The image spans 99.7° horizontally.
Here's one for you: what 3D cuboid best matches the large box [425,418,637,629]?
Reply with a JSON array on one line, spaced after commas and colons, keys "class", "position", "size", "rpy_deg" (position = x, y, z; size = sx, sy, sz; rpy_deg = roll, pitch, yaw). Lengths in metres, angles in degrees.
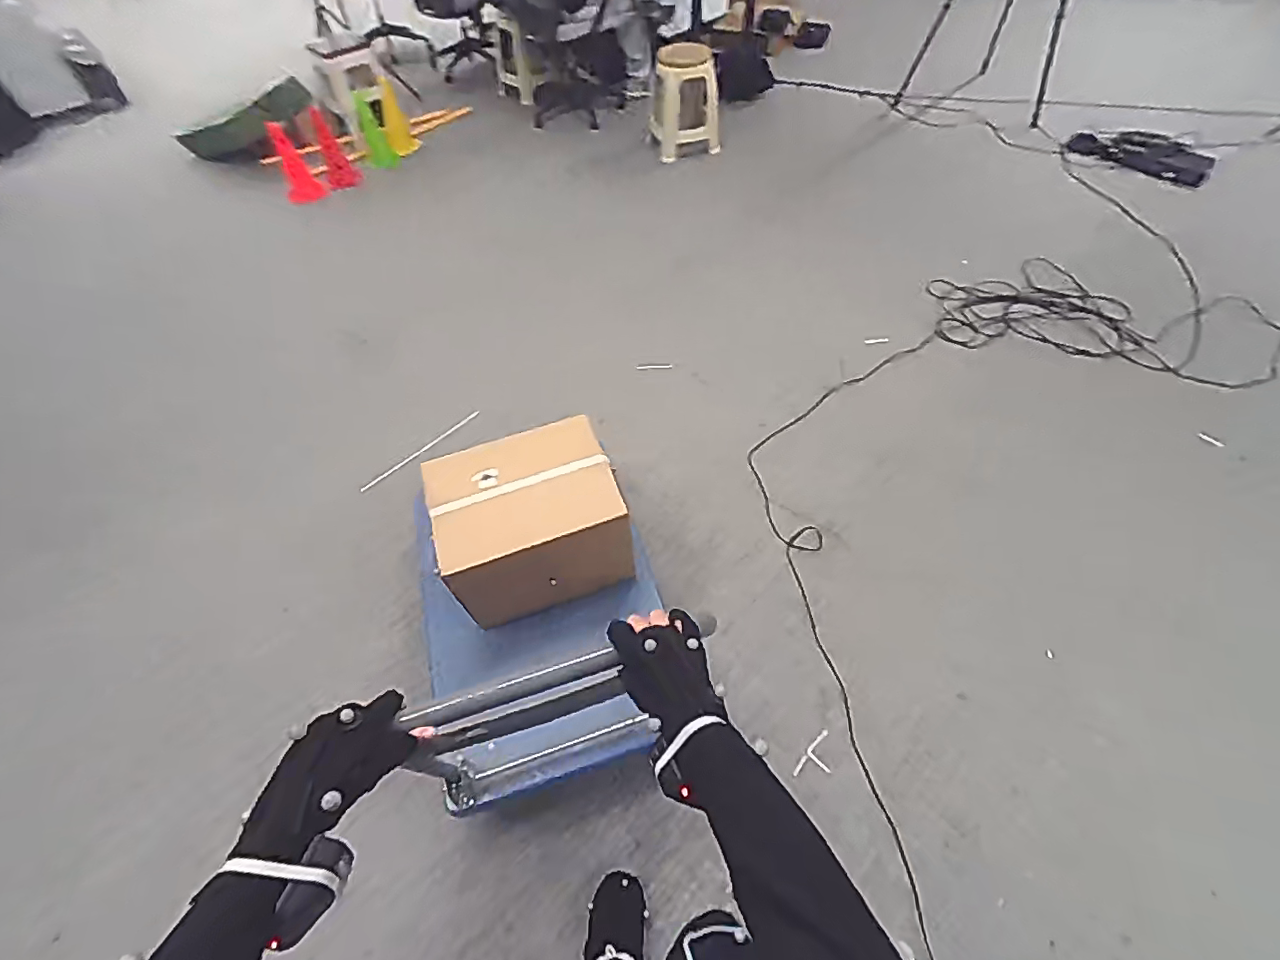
[{"class": "large box", "position": [-0.253, 0.110, 1.328], "size": [0.408, 0.320, 0.320], "rpy_deg": [-19, 55, -9]}]
